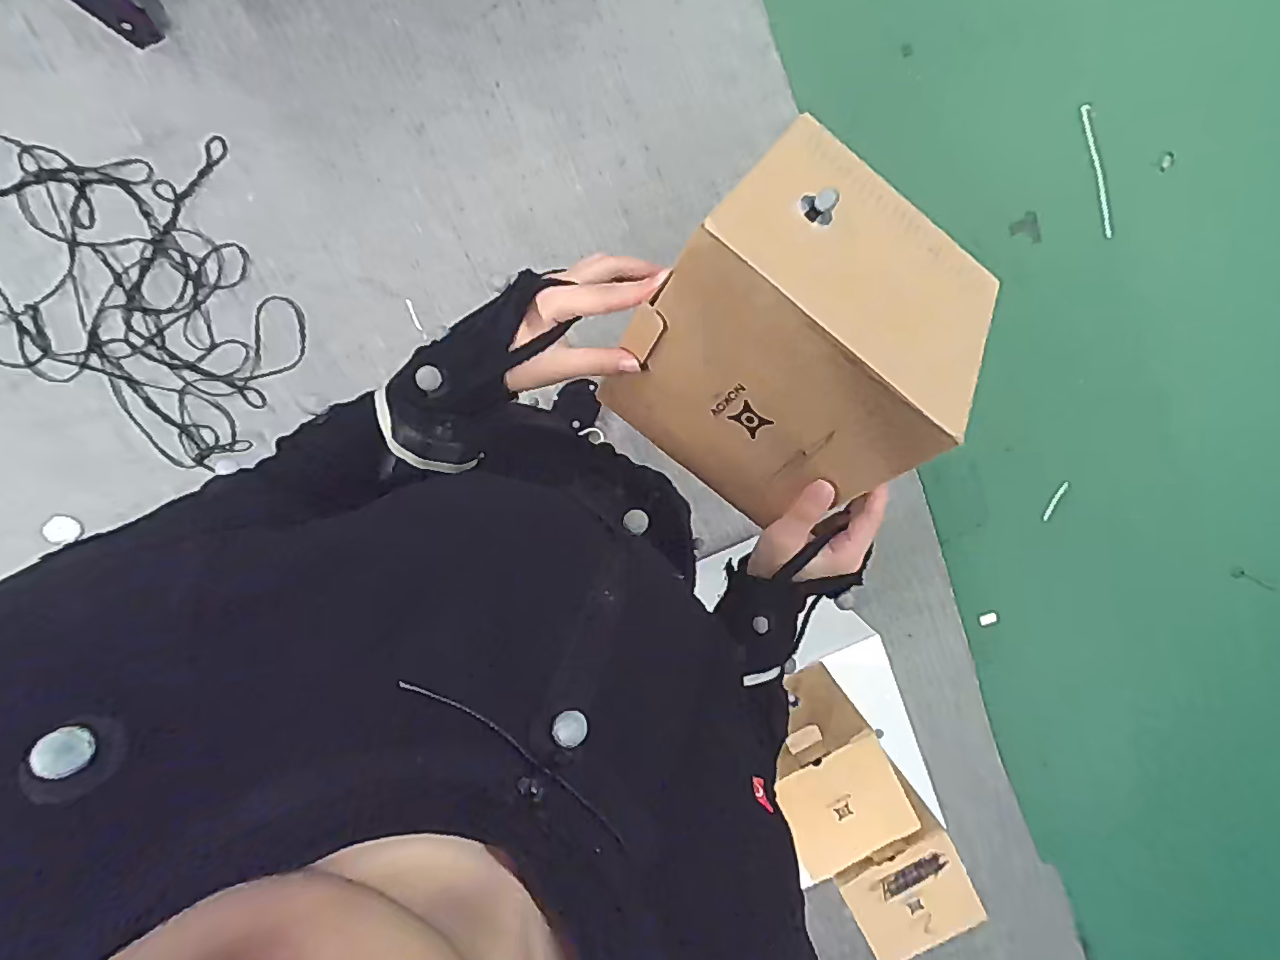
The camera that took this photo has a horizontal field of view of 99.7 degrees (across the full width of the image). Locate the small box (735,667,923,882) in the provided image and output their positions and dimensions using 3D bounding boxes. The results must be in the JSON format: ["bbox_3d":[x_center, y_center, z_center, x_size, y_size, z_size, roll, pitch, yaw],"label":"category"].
[{"bbox_3d":[0.259,0.409,0.776,0.168,0.176,0.179,-29,102,2],"label":"small box"}]
